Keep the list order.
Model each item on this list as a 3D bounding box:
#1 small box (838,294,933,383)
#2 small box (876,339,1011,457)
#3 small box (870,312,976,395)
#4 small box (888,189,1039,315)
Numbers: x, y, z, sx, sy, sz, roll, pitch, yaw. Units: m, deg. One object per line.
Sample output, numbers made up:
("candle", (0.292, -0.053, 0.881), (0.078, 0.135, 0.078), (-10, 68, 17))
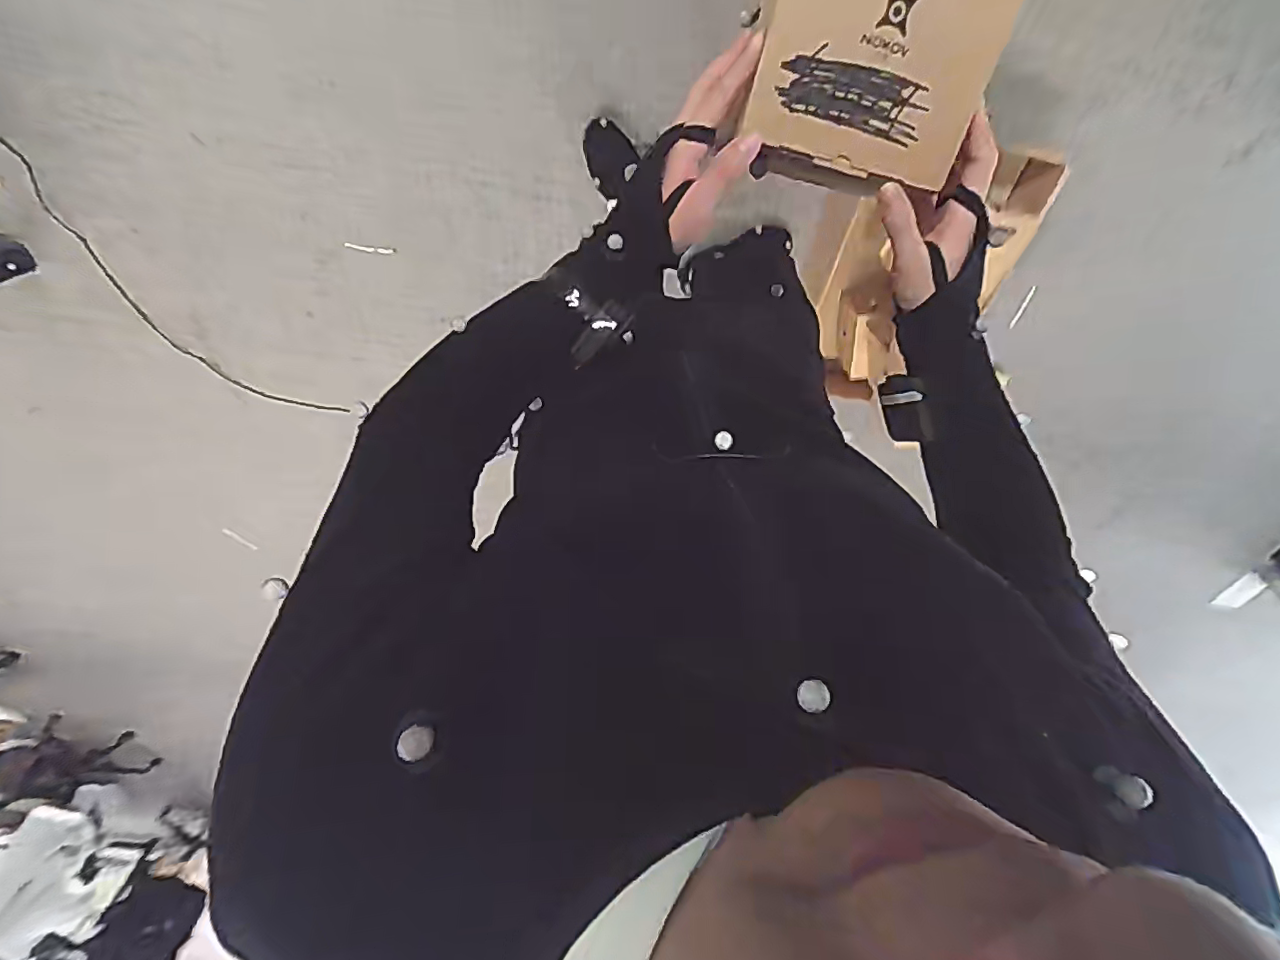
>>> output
("small box", (0.615, -0.362, 1.376), (0.179, 0.176, 0.168), (-4, 127, 6))
("small box", (0.607, -0.169, 1.113), (0.168, 0.176, 0.179), (3, 129, 1))
("small box", (0.640, -0.264, 1.244), (0.179, 0.176, 0.168), (-12, 126, 12))
("small box", (0.633, -0.462, 1.087), (0.168, 0.176, 0.179), (12, 129, -7))
